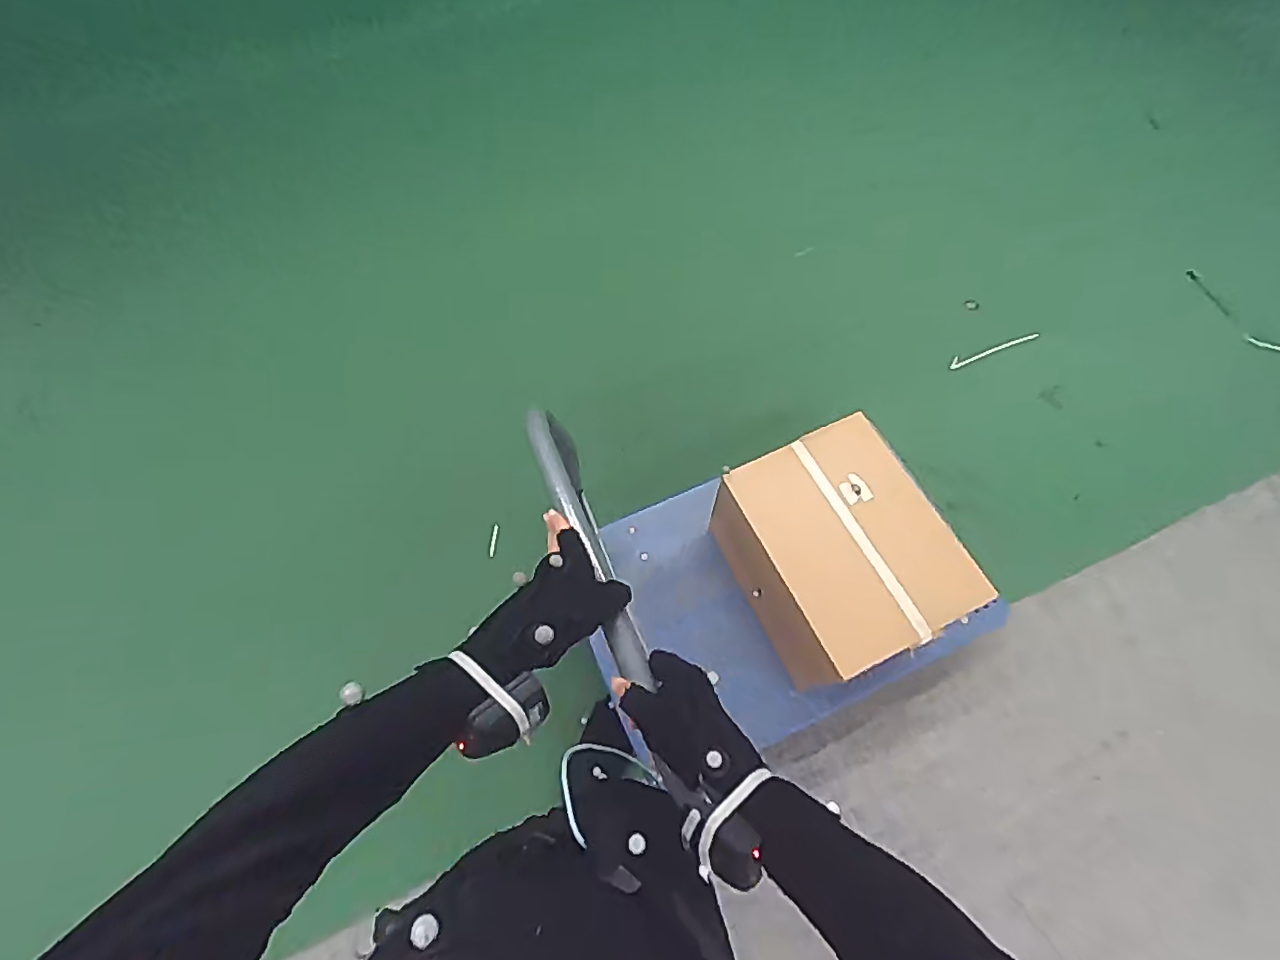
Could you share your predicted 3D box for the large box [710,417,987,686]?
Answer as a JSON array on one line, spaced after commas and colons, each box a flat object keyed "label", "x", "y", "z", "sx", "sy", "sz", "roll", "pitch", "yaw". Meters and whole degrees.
[{"label": "large box", "x": 0.379, "y": 0.156, "z": 1.107, "sx": 0.320, "sy": 0.320, "sz": 0.408, "roll": -24, "pitch": 67, "yaw": -9}]
